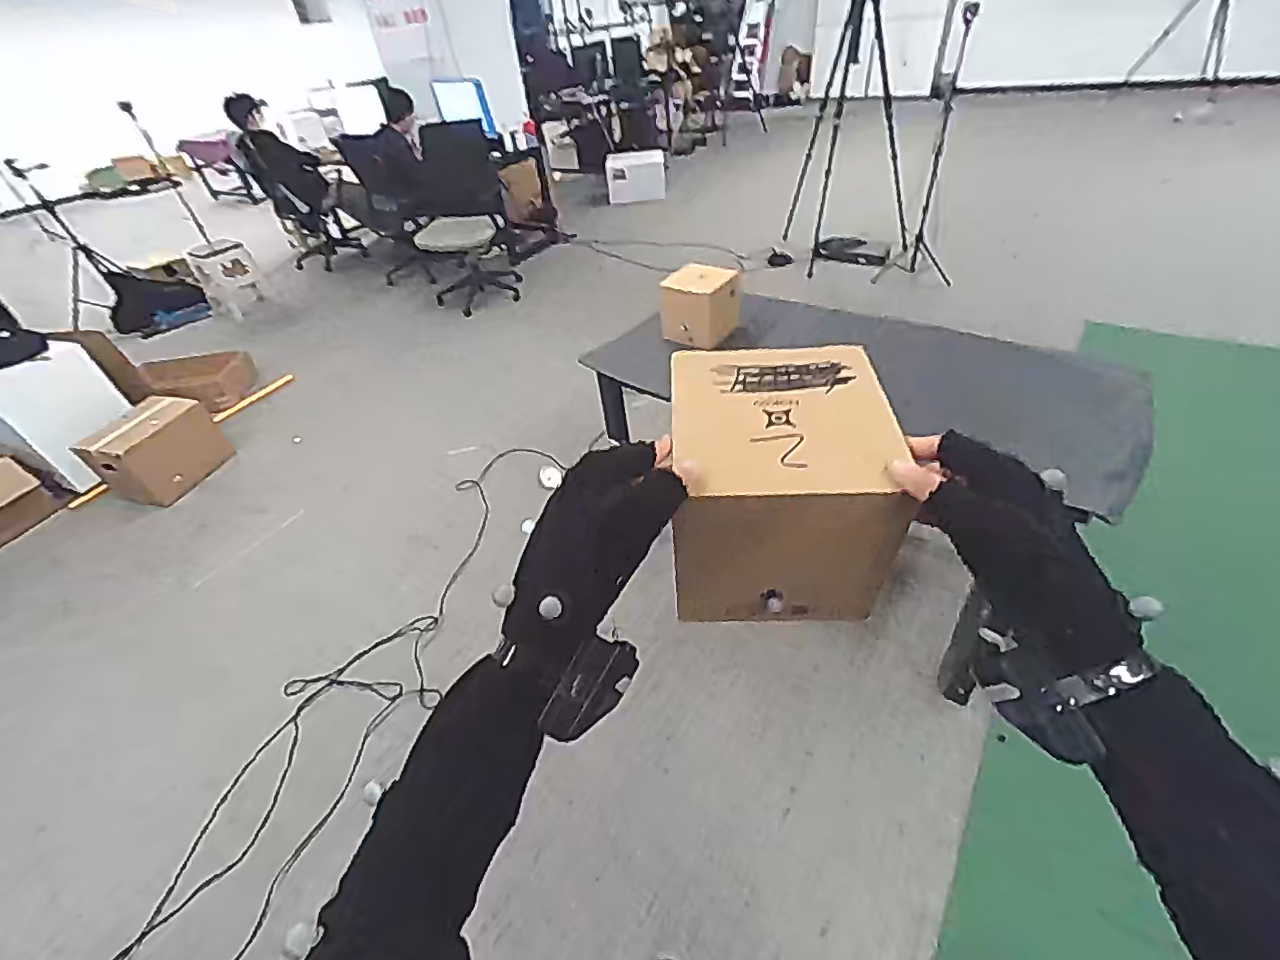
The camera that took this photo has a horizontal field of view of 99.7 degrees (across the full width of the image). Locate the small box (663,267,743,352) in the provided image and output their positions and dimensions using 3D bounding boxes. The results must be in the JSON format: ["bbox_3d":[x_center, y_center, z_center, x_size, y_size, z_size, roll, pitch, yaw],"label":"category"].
[{"bbox_3d":[0.183,-0.498,1.574,0.168,0.176,0.179,22,49,30],"label":"small box"}]
